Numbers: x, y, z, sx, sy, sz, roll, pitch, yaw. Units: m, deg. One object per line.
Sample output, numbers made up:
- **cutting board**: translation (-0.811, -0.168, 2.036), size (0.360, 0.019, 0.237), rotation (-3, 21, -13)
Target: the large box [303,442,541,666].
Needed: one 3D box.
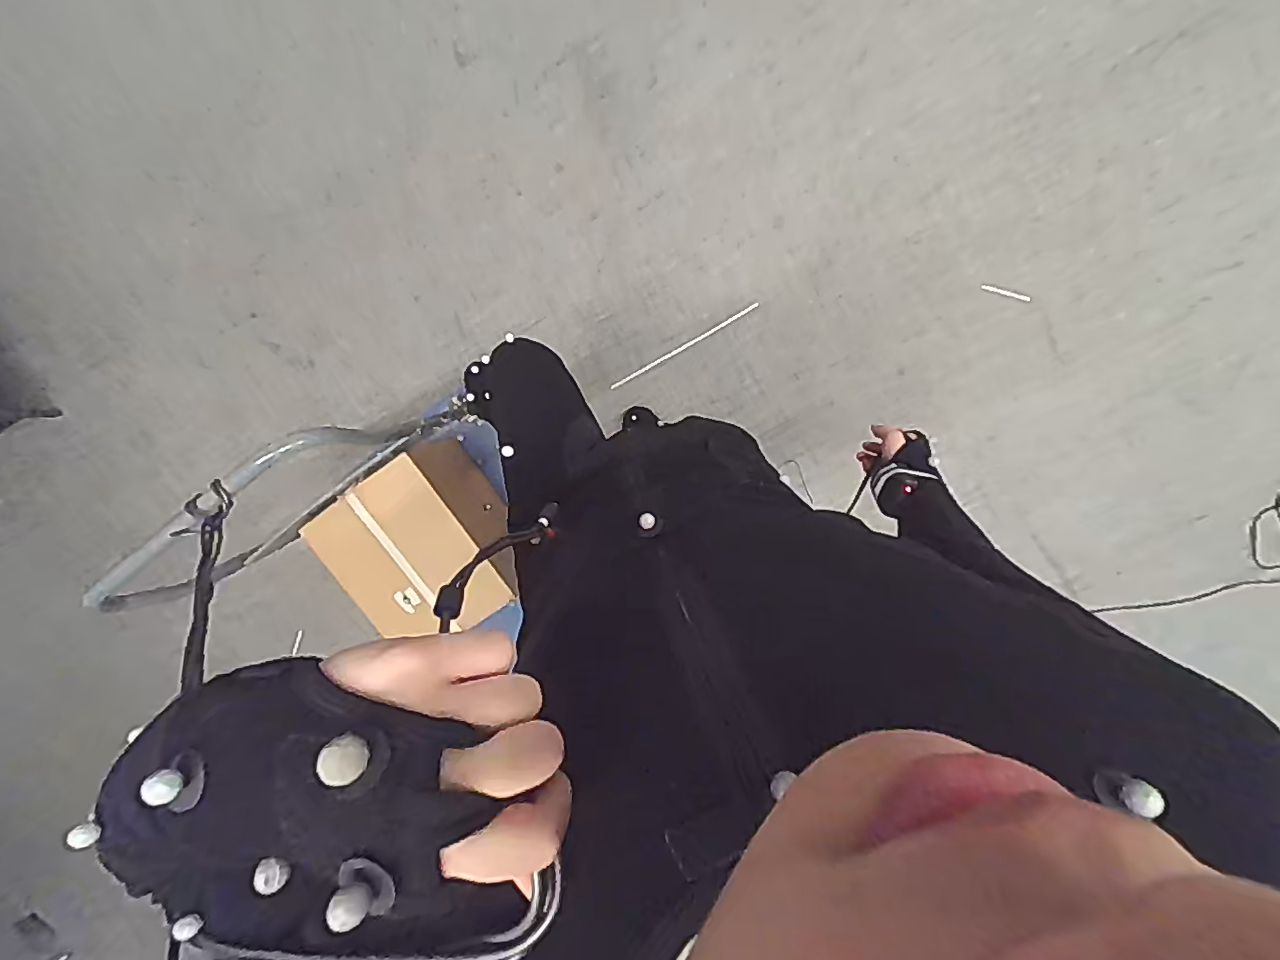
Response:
- **large box**: translation (-0.507, 0.161, 1.346), size (0.320, 0.320, 0.408), rotation (-34, 97, 6)
